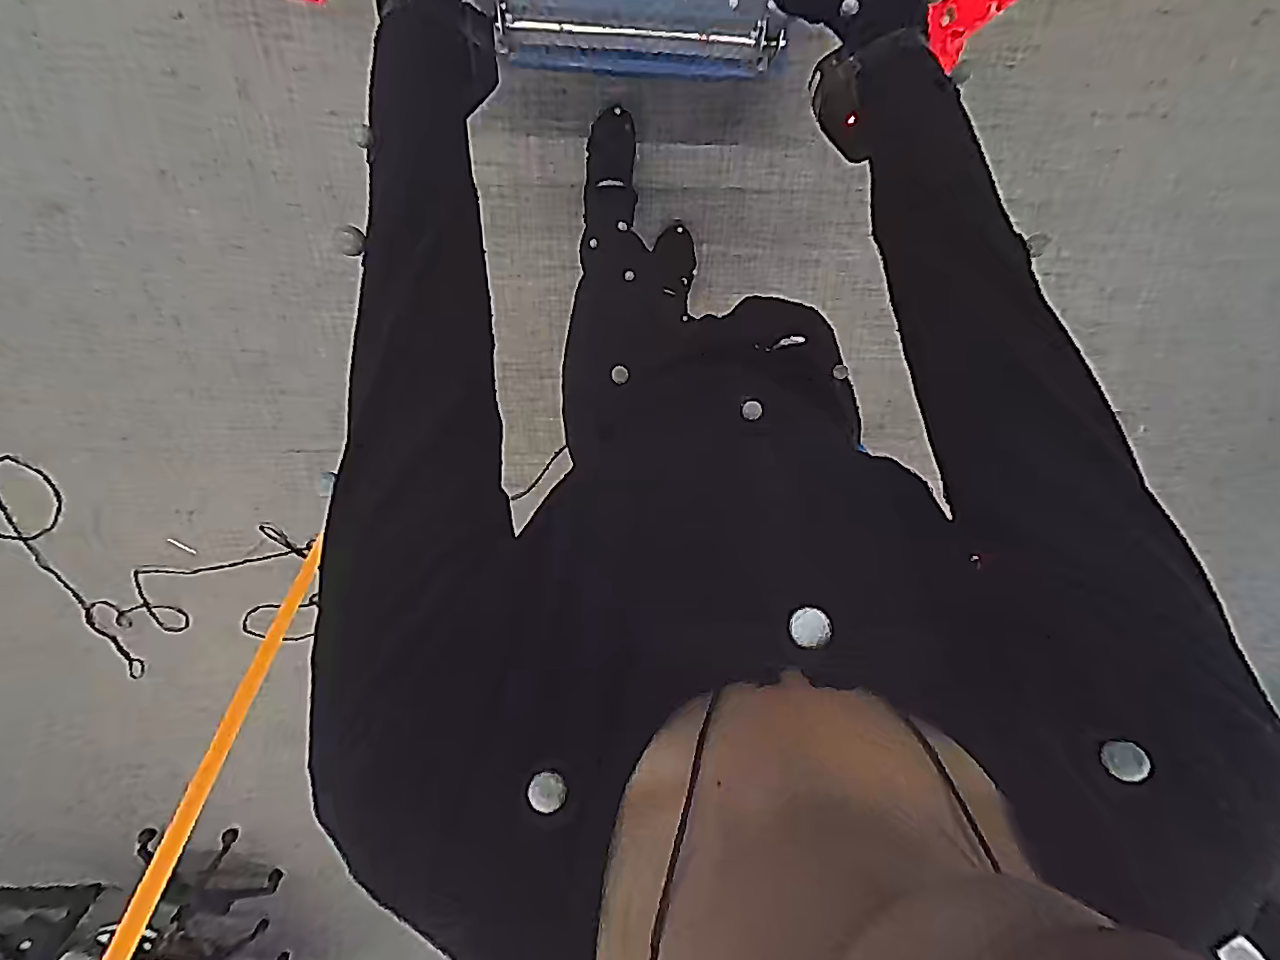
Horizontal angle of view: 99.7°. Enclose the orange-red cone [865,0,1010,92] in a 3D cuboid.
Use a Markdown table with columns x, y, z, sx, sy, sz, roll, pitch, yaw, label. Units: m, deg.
| x | y | z | sx | sy | sz | roll | pitch | yaw | label |
| --- | --- | --- | --- | --- | --- | --- | --- | --- | --- |
| 0.582 | -0.846 | 0.955 | 0.198 | 0.360 | 0.199 | 10 | 118 | -6 | orange-red cone |
